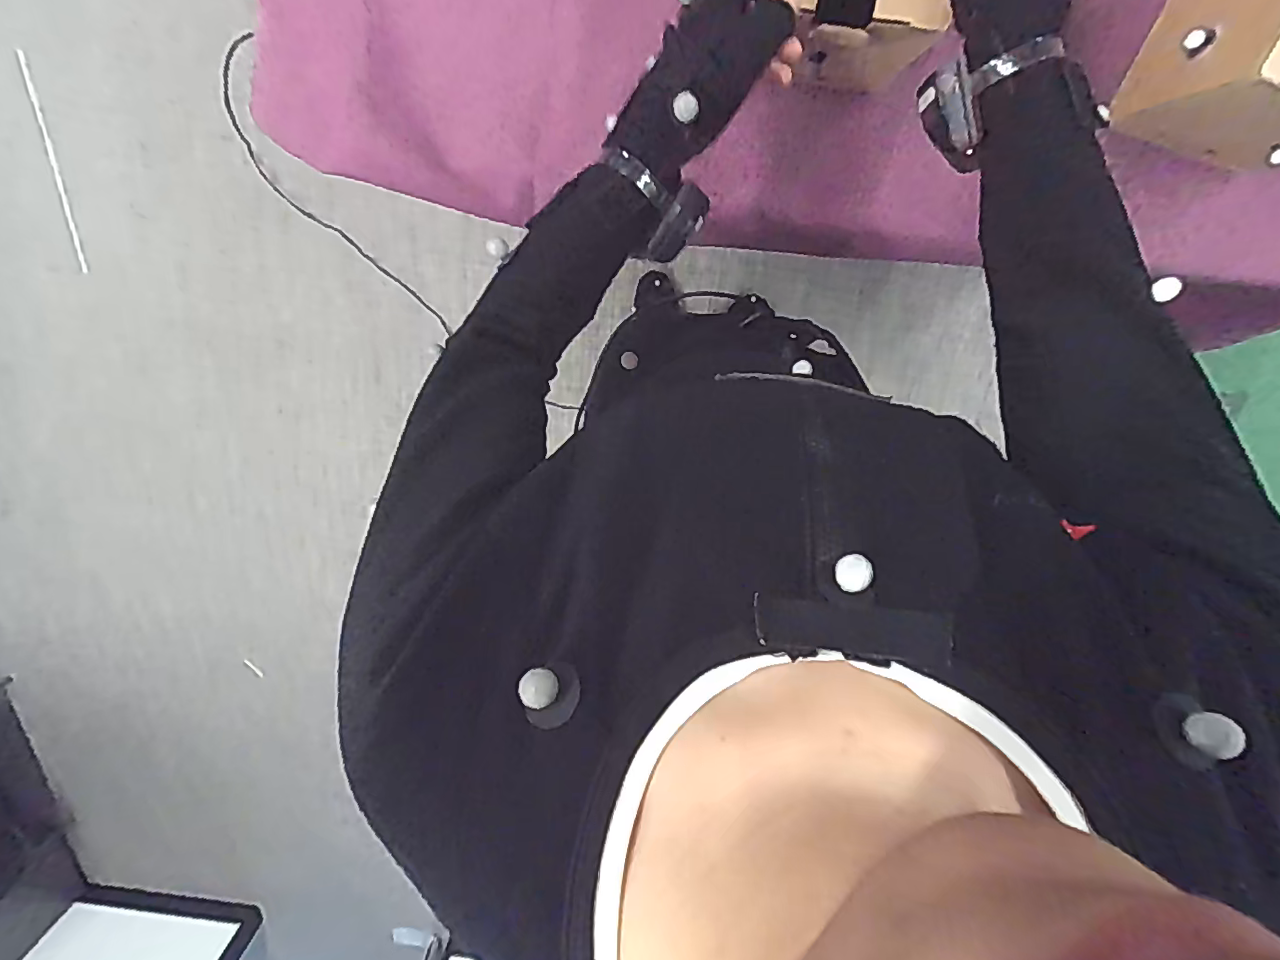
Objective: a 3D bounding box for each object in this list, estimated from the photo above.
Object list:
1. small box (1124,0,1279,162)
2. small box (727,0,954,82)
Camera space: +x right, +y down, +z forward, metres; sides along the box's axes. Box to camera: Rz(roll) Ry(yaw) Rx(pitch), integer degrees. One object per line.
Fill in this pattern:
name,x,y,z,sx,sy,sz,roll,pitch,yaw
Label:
small box,0.571,-0.391,0.451,0.168,0.176,0.179,17,113,-3
small box,0.170,-0.464,0.452,0.168,0.176,0.179,8,113,1
